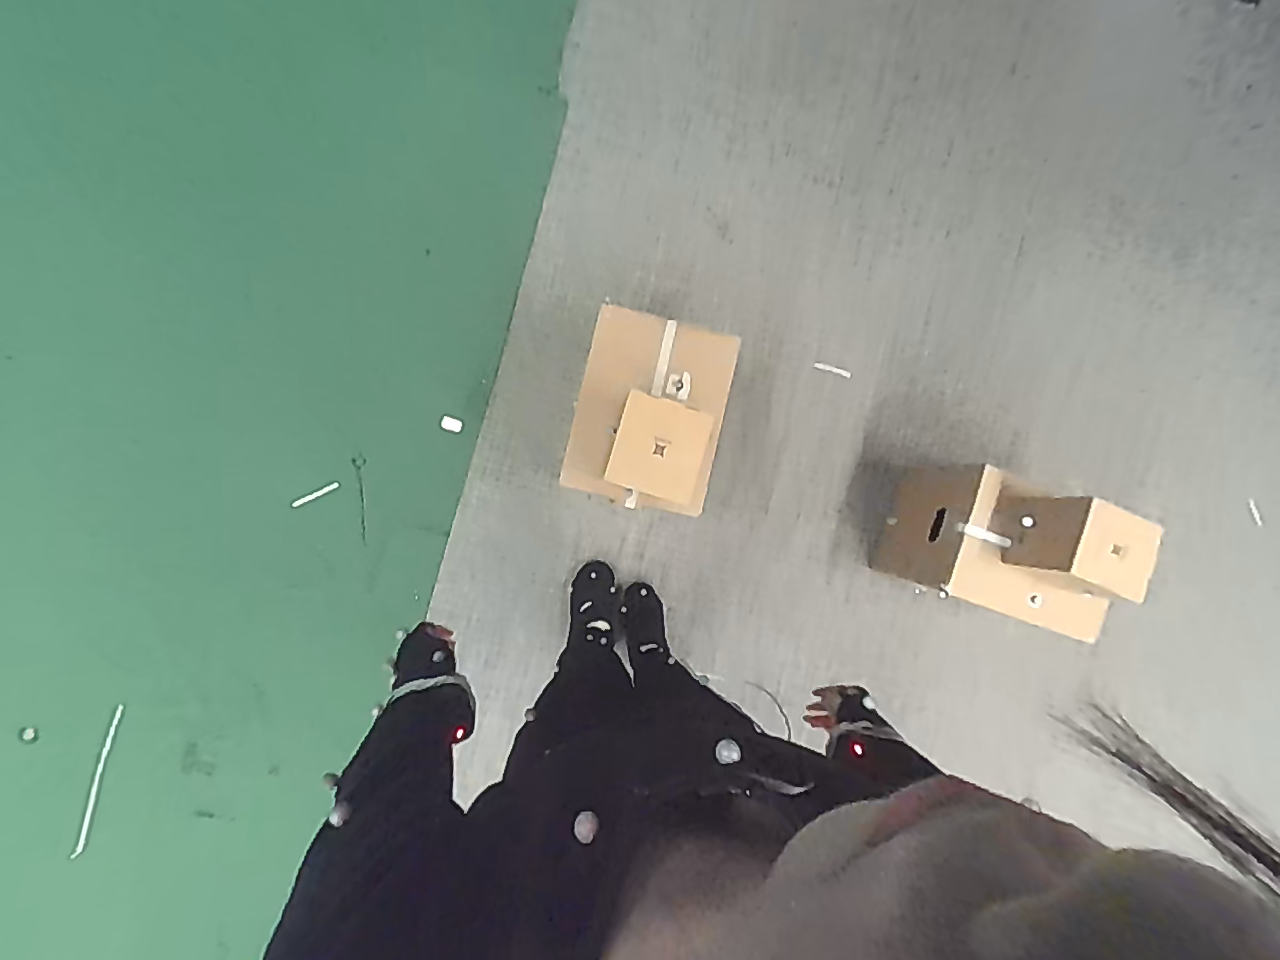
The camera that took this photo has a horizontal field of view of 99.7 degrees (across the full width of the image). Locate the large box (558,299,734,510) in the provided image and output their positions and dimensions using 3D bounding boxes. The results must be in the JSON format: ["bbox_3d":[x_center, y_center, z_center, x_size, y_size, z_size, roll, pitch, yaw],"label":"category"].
[{"bbox_3d":[0.003,-0.154,1.295,0.320,0.320,0.408,13,88,-6],"label":"large box"}]

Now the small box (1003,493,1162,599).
[{"bbox_3d":[0.932,0.133,1.152,0.179,0.176,0.168,23,85,-6],"label":"small box"}]

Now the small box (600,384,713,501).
[{"bbox_3d":[0.024,-0.066,1.050,0.168,0.176,0.179,17,87,-7],"label":"small box"}]
